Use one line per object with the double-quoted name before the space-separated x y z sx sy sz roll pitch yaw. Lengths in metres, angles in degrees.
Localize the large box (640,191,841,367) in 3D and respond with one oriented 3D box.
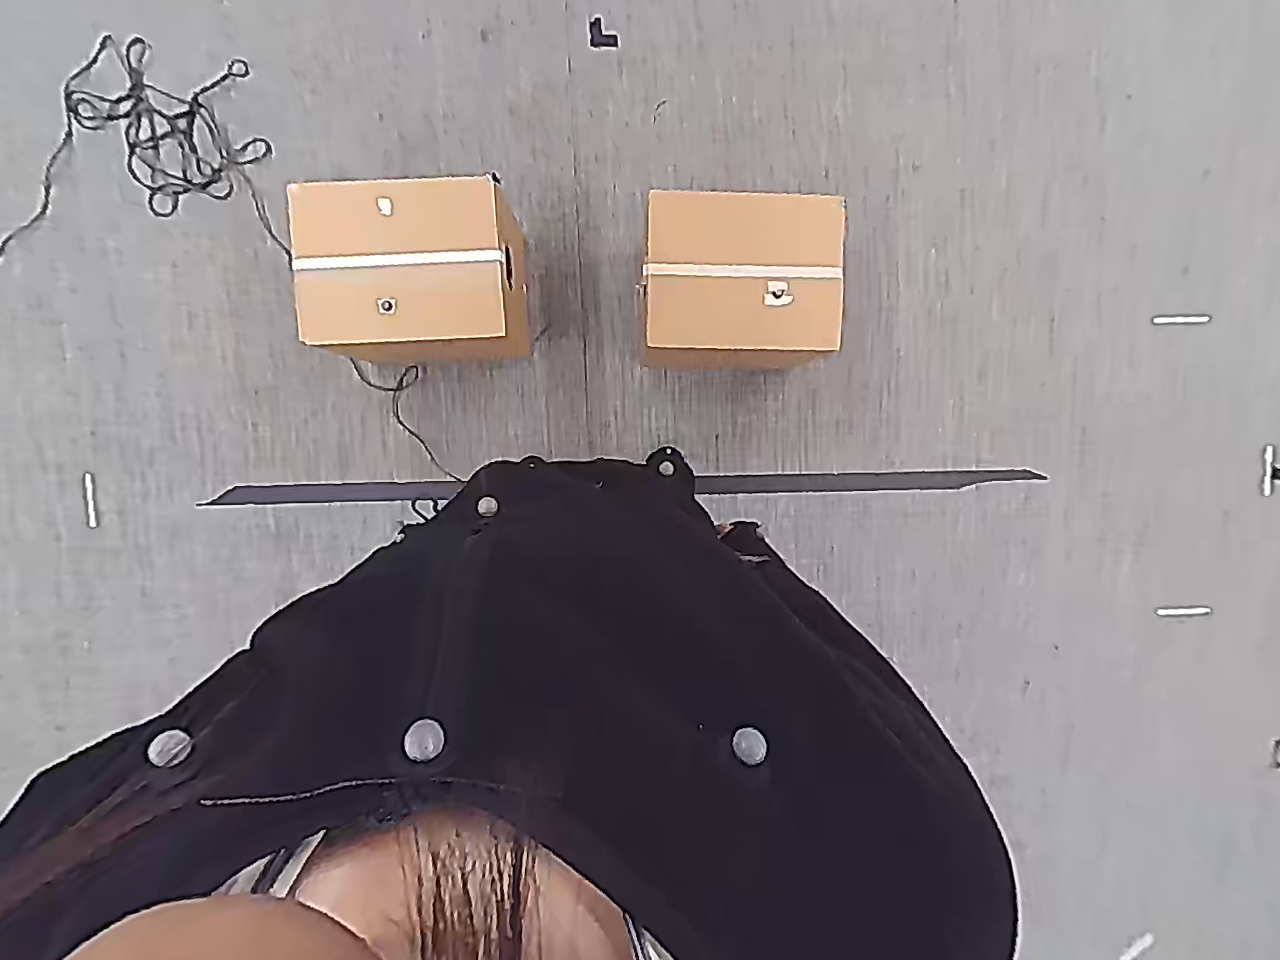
"large box" 0.207 -0.440 1.260 0.408 0.320 0.320 1 95 -3
